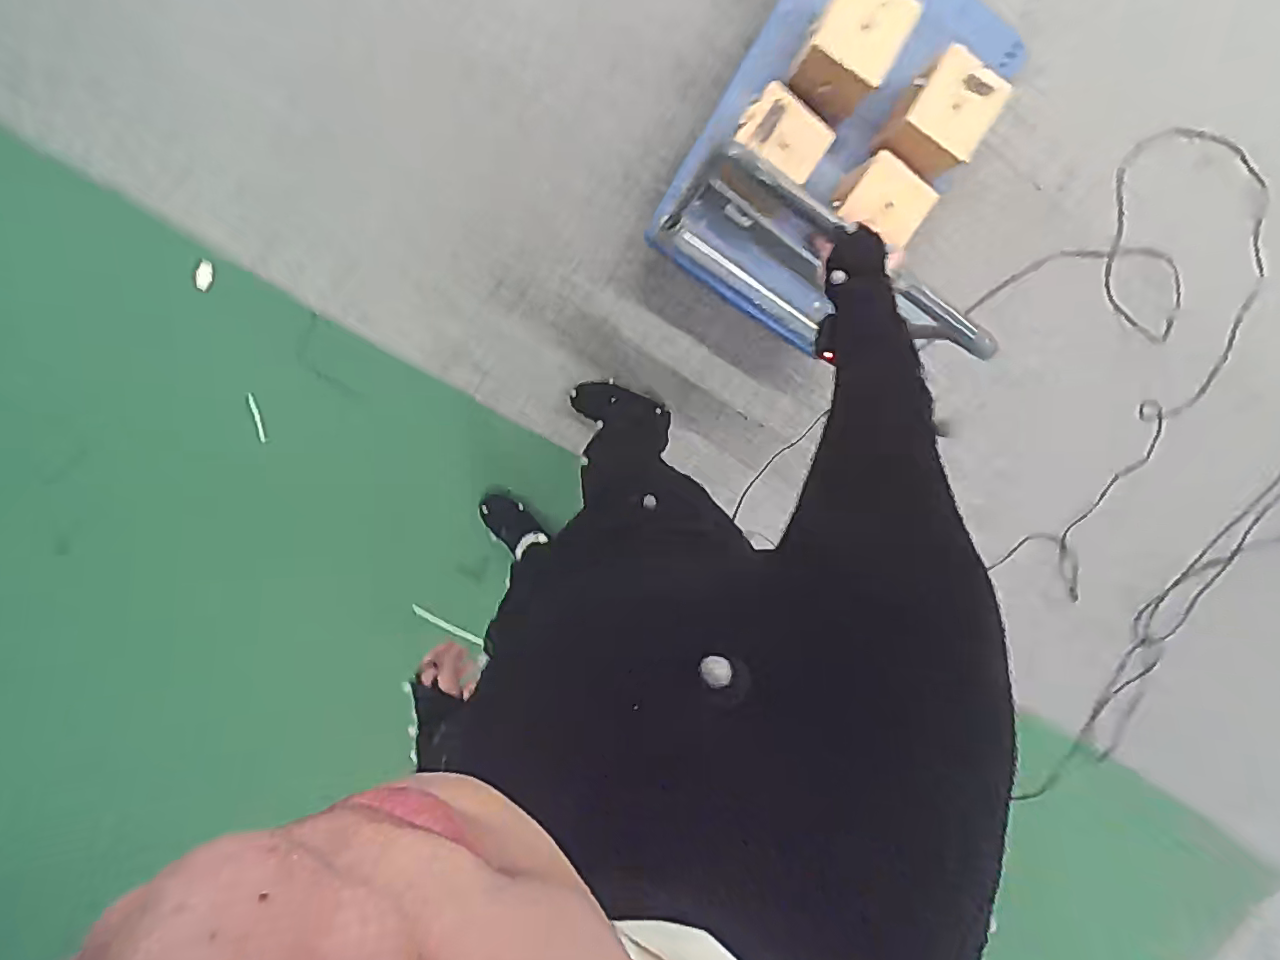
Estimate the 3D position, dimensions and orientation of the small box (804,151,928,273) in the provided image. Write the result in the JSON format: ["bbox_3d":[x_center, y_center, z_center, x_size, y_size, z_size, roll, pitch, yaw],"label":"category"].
[{"bbox_3d":[0.515,-0.611,1.259,0.168,0.176,0.179,32,98,-11],"label":"small box"}]

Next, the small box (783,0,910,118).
[{"bbox_3d":[0.435,-0.942,1.178,0.168,0.176,0.179,27,98,-11],"label":"small box"}]

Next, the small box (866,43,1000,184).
[{"bbox_3d":[0.651,-0.815,1.227,0.168,0.176,0.179,29,99,-10],"label":"small box"}]
